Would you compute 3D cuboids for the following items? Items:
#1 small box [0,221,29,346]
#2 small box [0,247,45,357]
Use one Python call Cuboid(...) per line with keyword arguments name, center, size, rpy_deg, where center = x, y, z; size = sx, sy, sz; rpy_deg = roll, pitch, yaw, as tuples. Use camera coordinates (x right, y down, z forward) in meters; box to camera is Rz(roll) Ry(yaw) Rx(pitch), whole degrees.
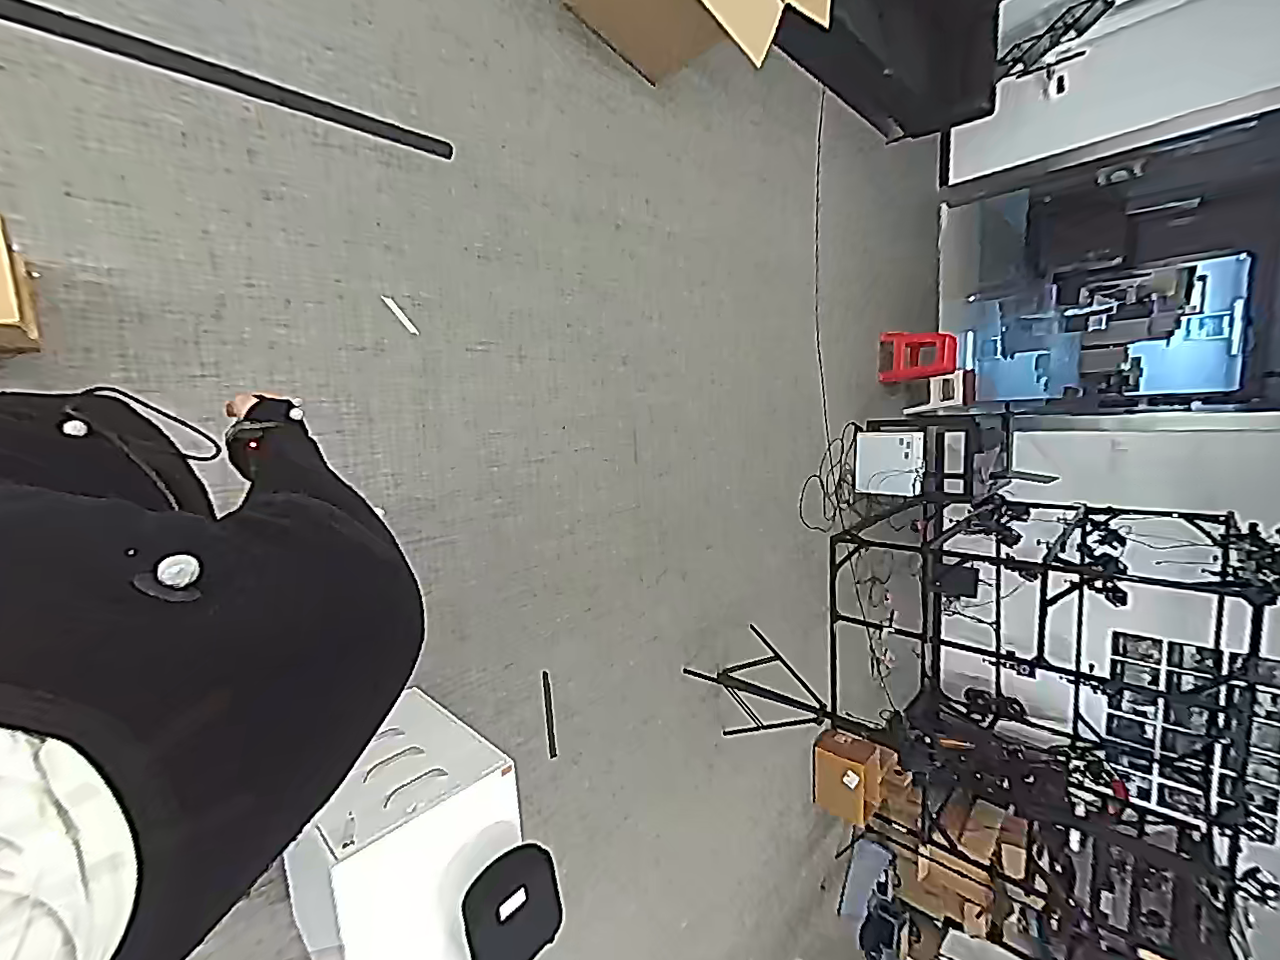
Cuboid(name="small box", center=(-1.109, -0.316, 0.856), size=(0.168, 0.176, 0.179), rpy_deg=(-11, 101, -44))
Cuboid(name="small box", center=(-1.219, -0.323, 0.979), size=(0.168, 0.176, 0.179), rpy_deg=(-13, 103, -44))
